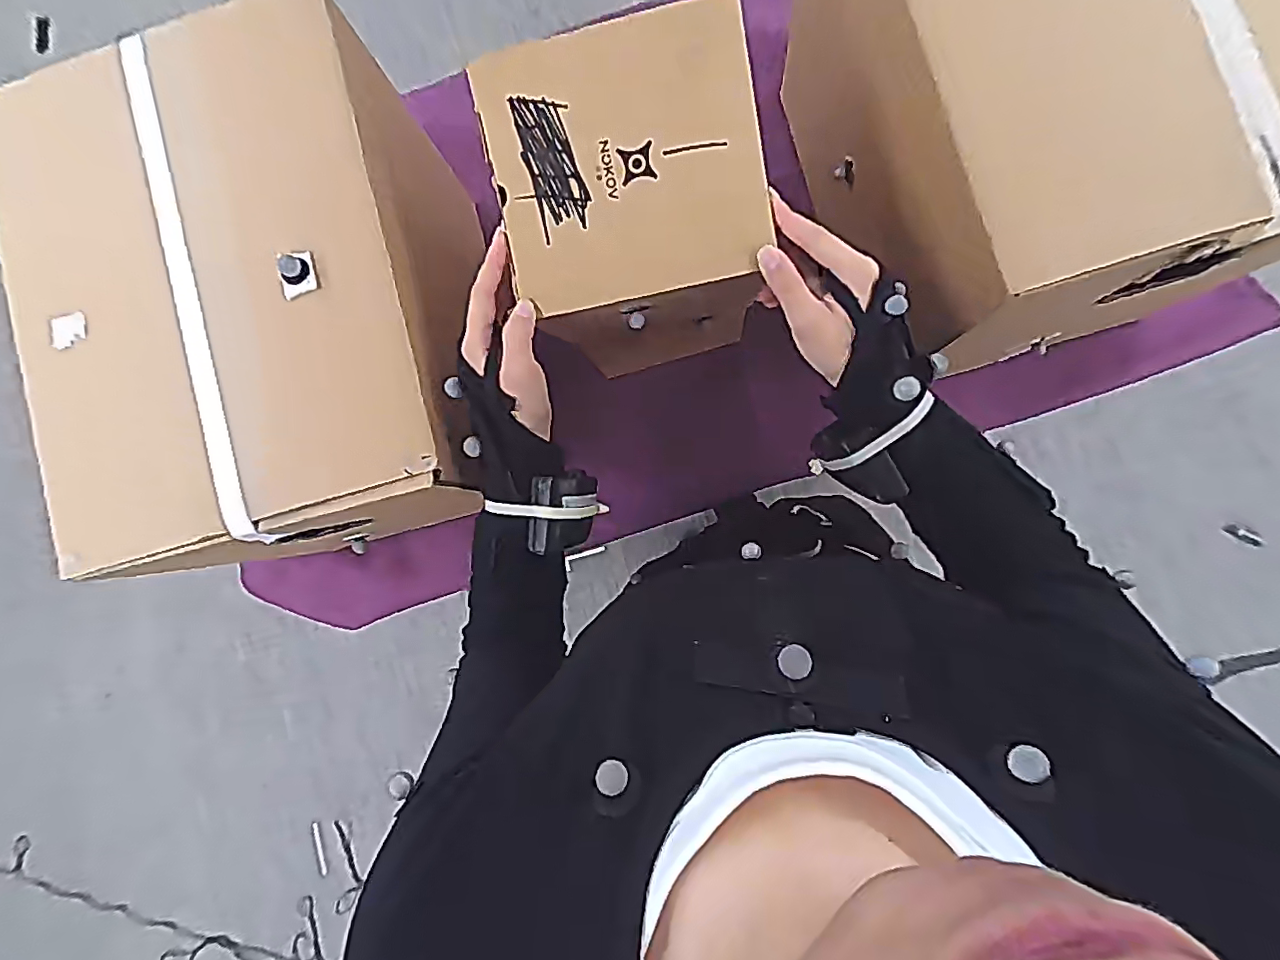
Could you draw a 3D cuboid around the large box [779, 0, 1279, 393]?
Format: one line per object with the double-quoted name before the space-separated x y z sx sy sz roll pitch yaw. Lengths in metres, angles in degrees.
"large box" 0.346 -0.340 0.487 0.320 0.320 0.408 -16 84 6
